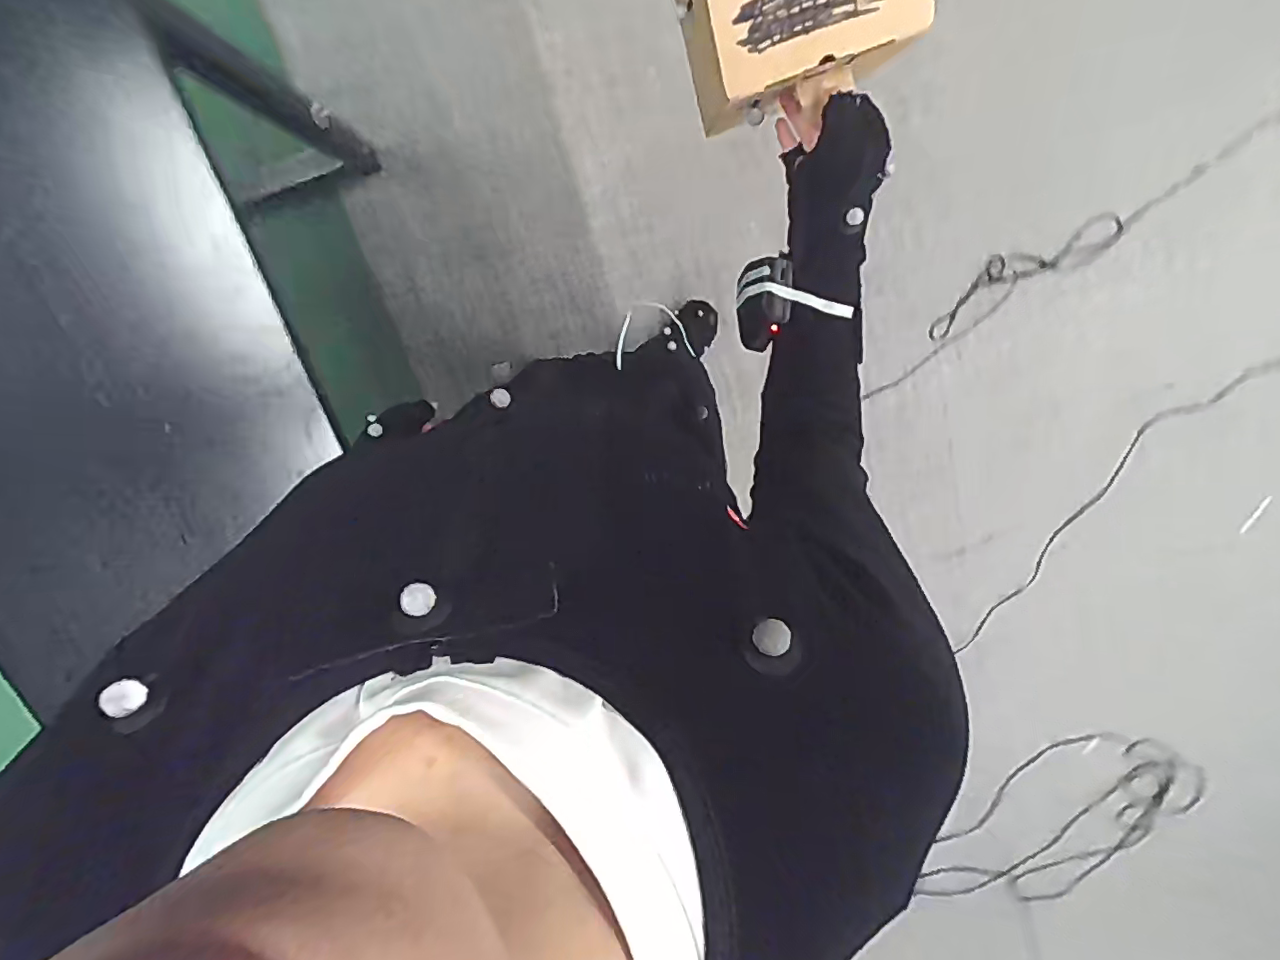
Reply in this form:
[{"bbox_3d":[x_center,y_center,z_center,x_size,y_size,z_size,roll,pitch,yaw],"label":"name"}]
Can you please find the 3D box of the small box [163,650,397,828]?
[{"bbox_3d":[-0.480,0.374,0.753,0.179,0.176,0.168,-25,105,4],"label":"small box"}]
